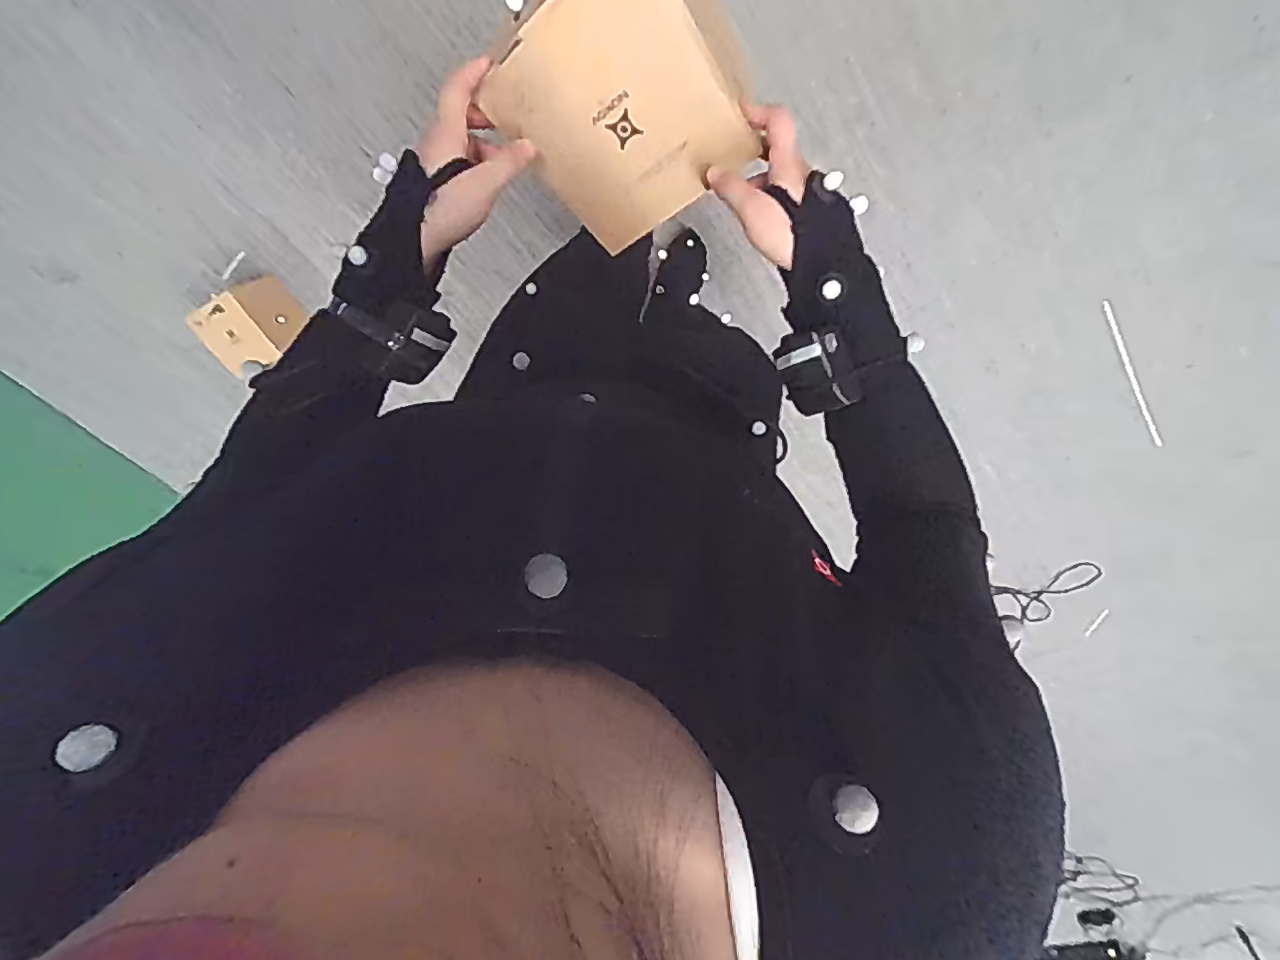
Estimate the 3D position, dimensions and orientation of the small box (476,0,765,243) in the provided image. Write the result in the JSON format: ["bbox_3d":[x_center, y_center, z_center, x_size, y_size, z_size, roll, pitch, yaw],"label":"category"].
[{"bbox_3d":[-0.009,-0.359,0.472,0.168,0.176,0.179,-21,140,31],"label":"small box"}]

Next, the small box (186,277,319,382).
[{"bbox_3d":[-0.971,-0.385,1.374,0.168,0.176,0.179,-20,120,18],"label":"small box"}]
